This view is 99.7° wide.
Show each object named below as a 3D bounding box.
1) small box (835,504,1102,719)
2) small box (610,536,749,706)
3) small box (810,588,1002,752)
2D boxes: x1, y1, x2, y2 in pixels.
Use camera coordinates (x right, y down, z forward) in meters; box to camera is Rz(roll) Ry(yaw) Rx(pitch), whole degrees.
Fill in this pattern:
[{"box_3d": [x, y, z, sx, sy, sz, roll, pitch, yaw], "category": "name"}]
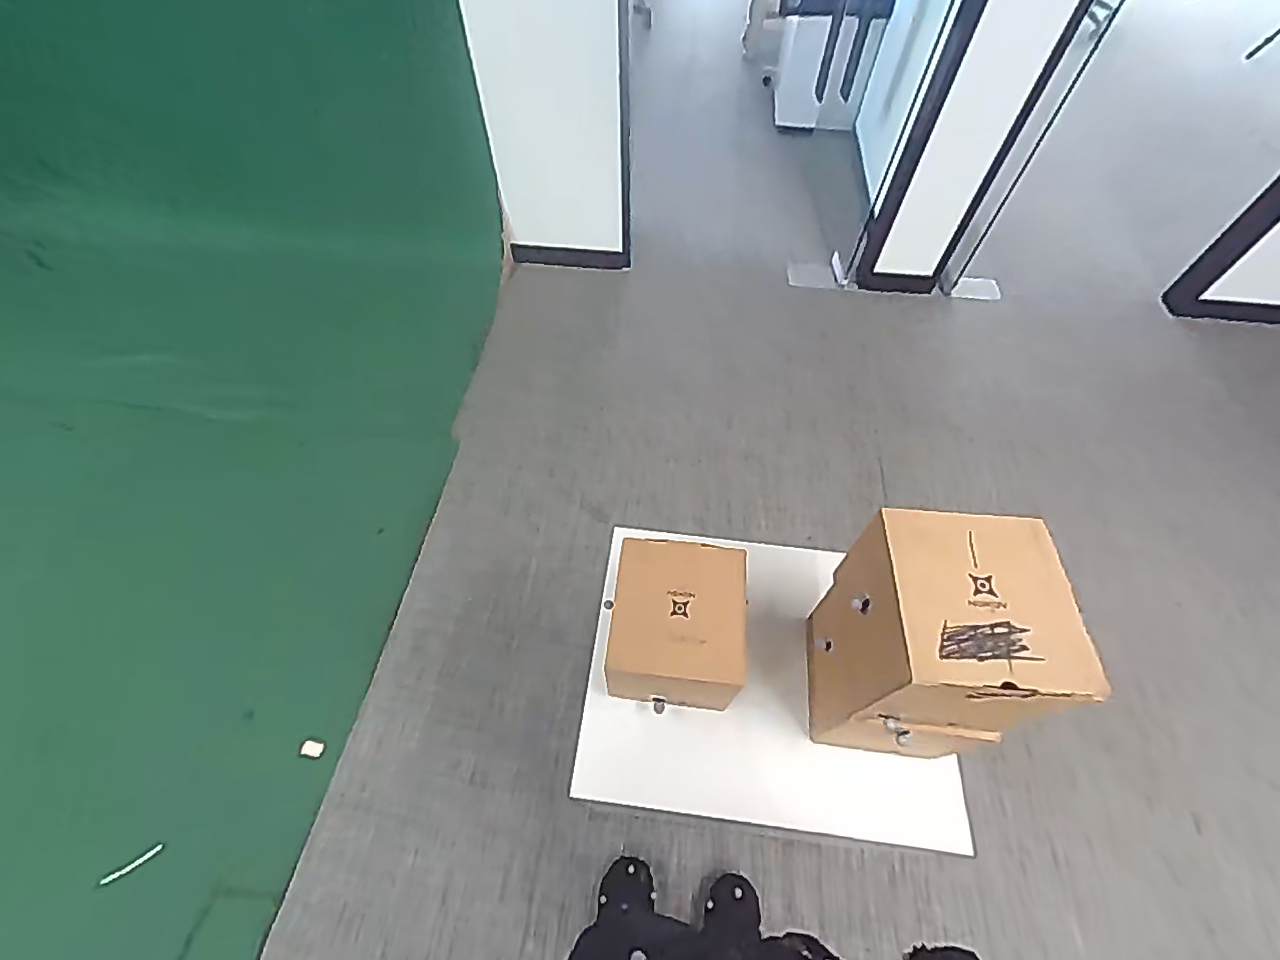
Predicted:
[{"box_3d": [0.318, 0.145, 0.572, 0.168, 0.176, 0.179, 3, 57, 3], "category": "small box"}, {"box_3d": [0.053, 0.196, 0.739, 0.168, 0.176, 0.179, 4, 59, 3], "category": "small box"}, {"box_3d": [0.325, 0.239, 0.706, 0.168, 0.176, 0.179, 6, 57, 5], "category": "small box"}]
